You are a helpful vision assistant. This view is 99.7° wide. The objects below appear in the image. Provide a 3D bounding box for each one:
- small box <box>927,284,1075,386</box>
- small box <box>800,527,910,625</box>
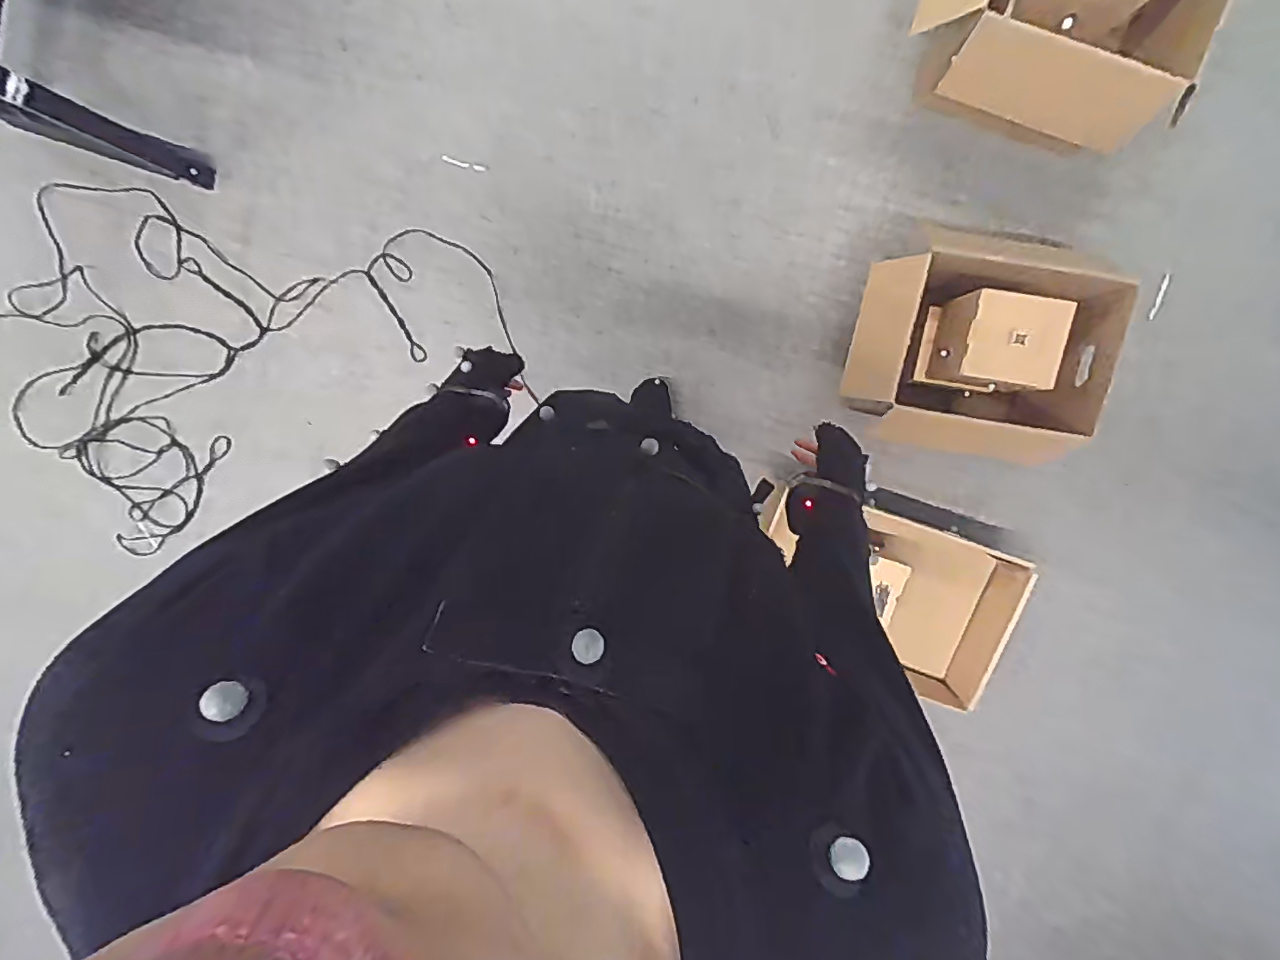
[{"bbox_3d":[0.721,-0.288,1.103,0.179,0.176,0.168,11,100,4],"label":"small box"},{"bbox_3d":[0.519,0.227,1.328,0.179,0.176,0.168,17,100,0],"label":"small box"}]
